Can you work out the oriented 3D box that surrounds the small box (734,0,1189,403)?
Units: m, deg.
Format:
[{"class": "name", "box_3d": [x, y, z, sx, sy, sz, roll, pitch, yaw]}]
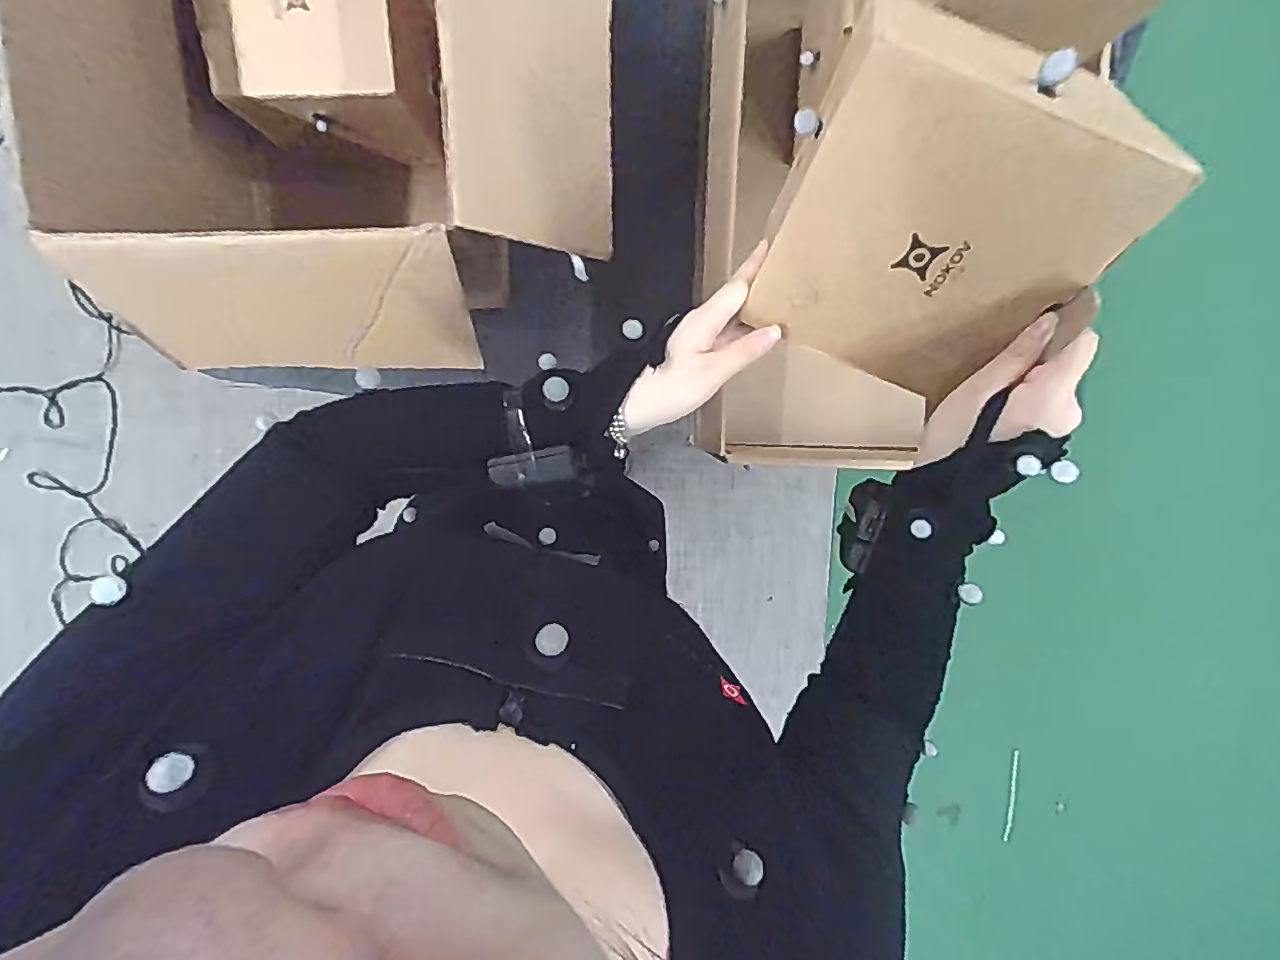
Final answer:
[{"class": "small box", "box_3d": [0.186, -0.190, 0.368, 0.179, 0.168, 0.176, 21, 52, -2]}]
